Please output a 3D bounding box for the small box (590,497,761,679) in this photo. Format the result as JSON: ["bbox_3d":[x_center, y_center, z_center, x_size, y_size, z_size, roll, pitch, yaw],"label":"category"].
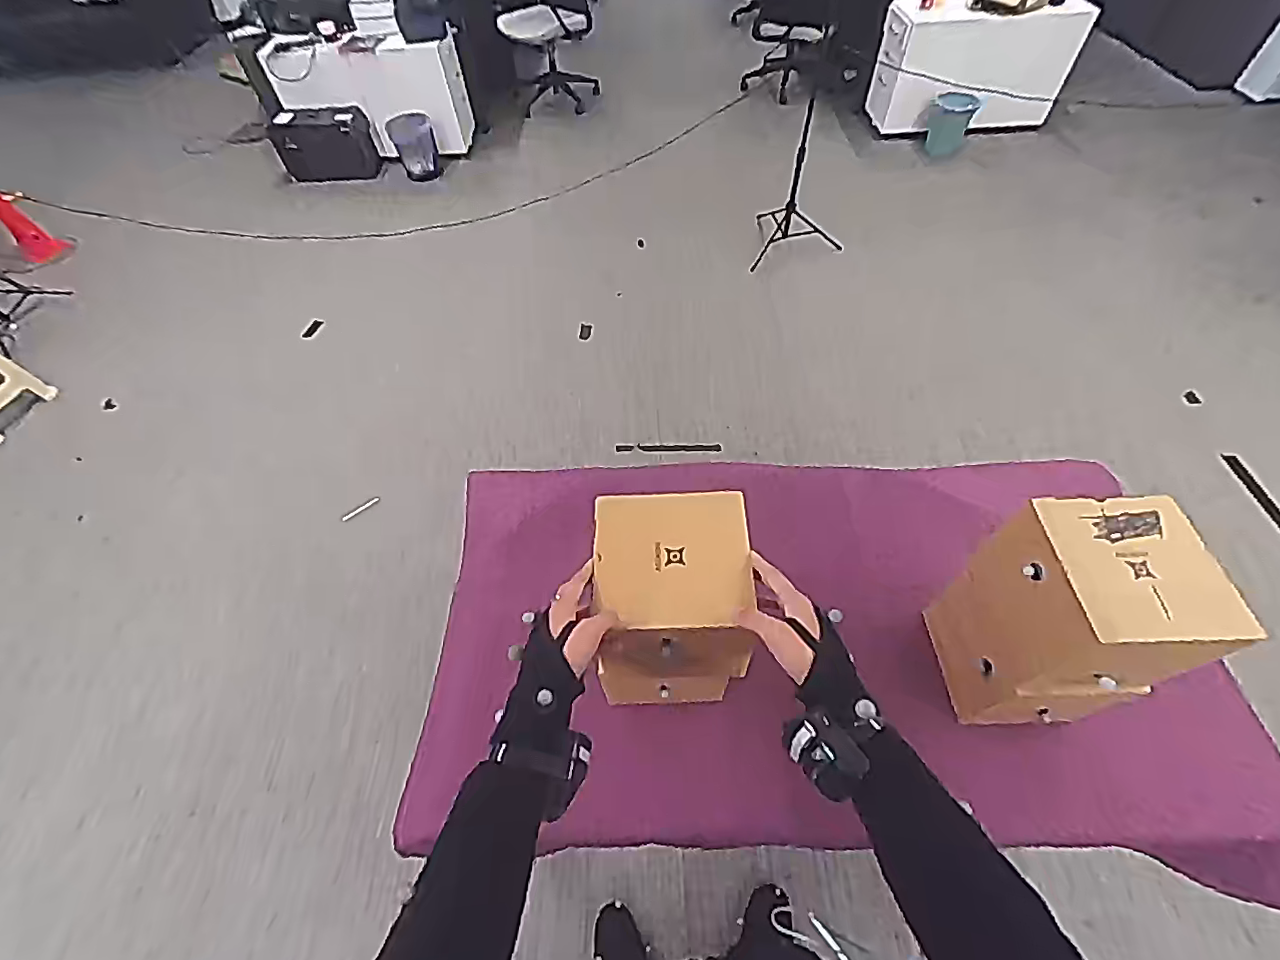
[{"bbox_3d":[0.042,0.135,0.658,0.179,0.176,0.168,-3,54,4],"label":"small box"}]

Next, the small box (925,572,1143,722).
[{"bbox_3d":[0.547,0.245,0.784,0.168,0.176,0.179,-1,54,1],"label":"small box"}]

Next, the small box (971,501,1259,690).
[{"bbox_3d":[0.542,0.143,0.656,0.168,0.176,0.179,-1,55,2],"label":"small box"}]
